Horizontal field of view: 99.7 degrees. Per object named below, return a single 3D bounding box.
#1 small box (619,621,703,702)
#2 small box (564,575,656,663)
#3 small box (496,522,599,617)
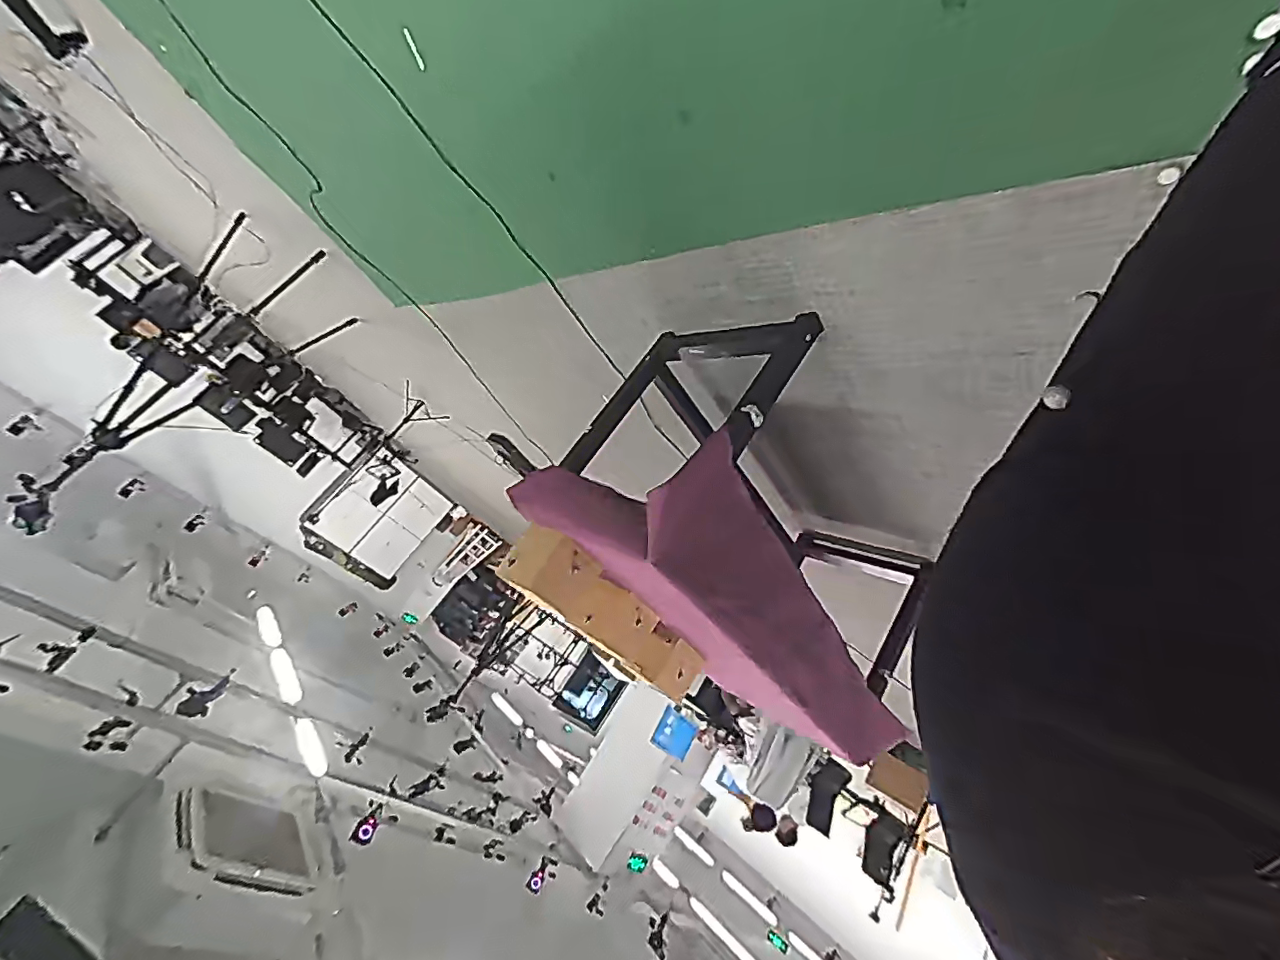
[{"bbox_3d":[0.072,0.582,1.759,0.168,0.176,0.179,14,152,49],"label":"small box"},{"bbox_3d":[-0.084,0.404,1.605,0.179,0.176,0.168,11,150,50],"label":"small box"},{"bbox_3d":[-0.241,0.230,1.435,0.179,0.176,0.168,10,150,47],"label":"small box"}]
